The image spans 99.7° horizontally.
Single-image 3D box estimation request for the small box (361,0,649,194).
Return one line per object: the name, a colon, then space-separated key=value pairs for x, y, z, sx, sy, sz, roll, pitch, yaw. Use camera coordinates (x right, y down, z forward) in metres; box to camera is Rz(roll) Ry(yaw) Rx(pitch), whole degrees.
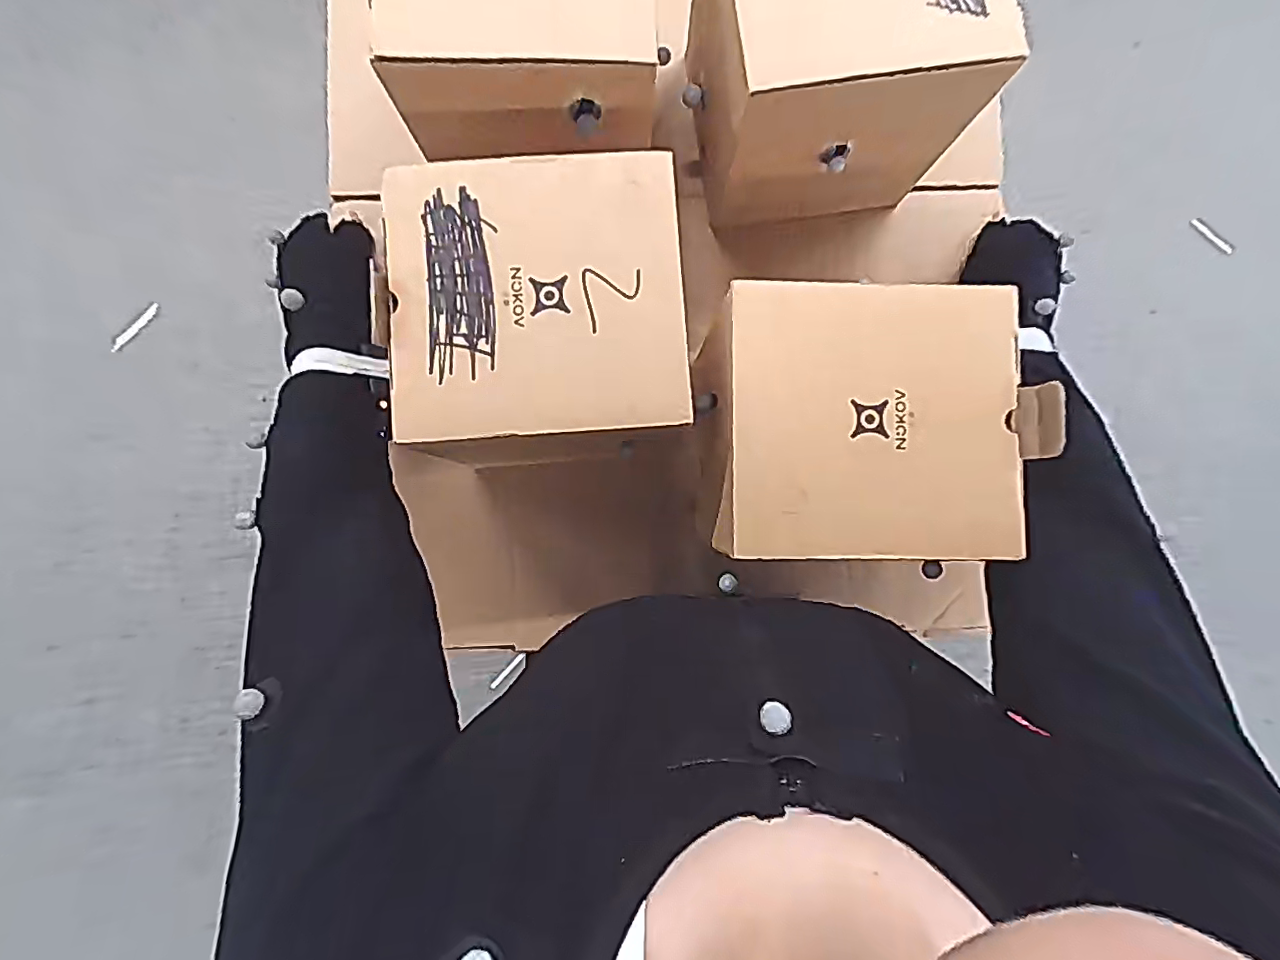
small box: x=-0.084 y=-0.342 z=0.412 sx=0.179 sy=0.176 sz=0.168 roll=0 pitch=88 yaw=-1
